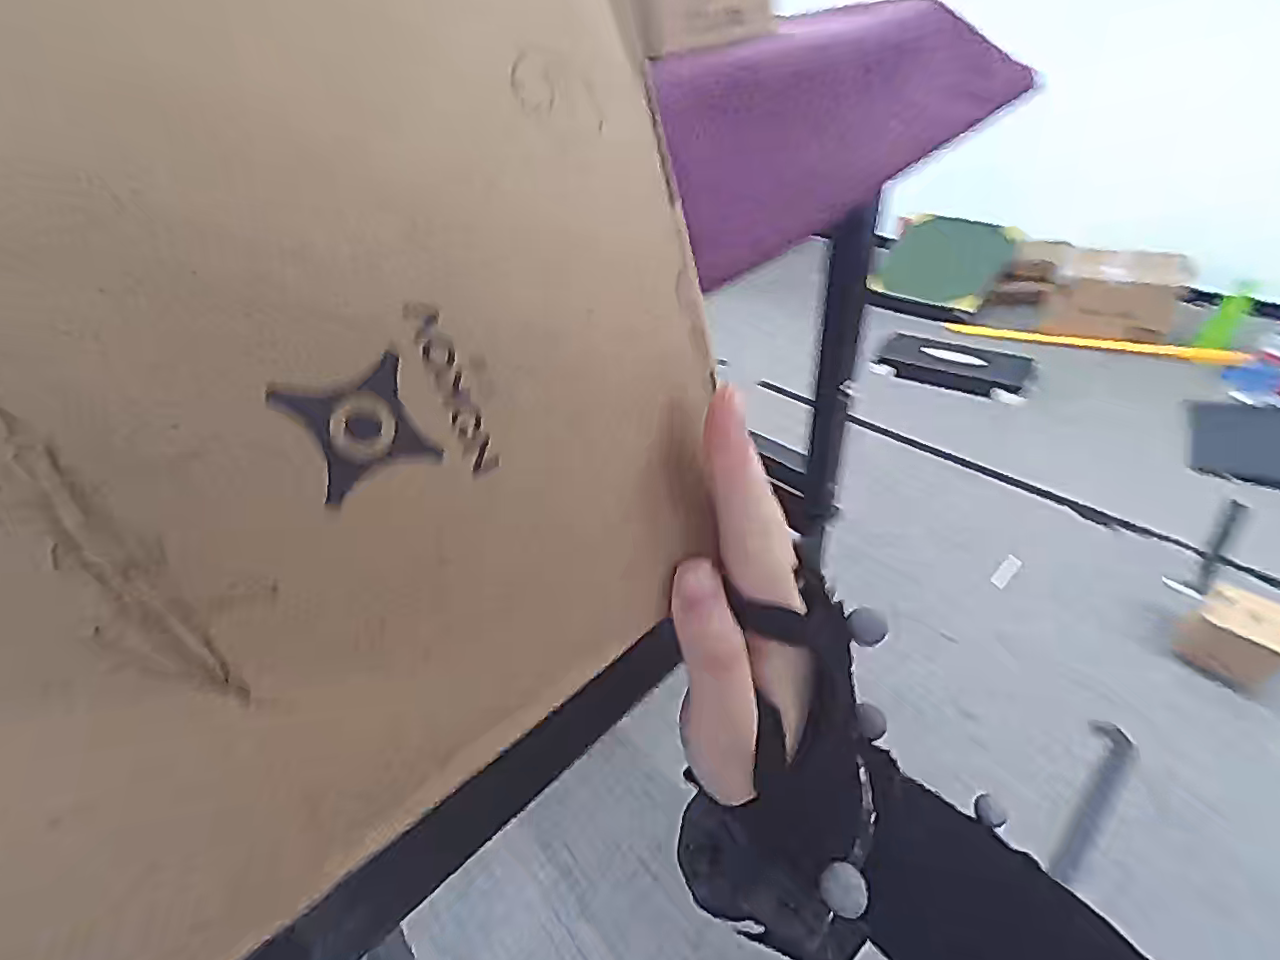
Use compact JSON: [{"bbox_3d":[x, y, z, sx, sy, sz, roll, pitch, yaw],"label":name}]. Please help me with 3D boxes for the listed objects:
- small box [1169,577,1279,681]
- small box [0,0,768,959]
[{"bbox_3d":[1.566,0.399,1.422,0.168,0.176,0.179,-35,49,-27],"label":"small box"},{"bbox_3d":[-0.093,-0.023,0.156,0.179,0.168,0.176,-29,26,-29],"label":"small box"}]
